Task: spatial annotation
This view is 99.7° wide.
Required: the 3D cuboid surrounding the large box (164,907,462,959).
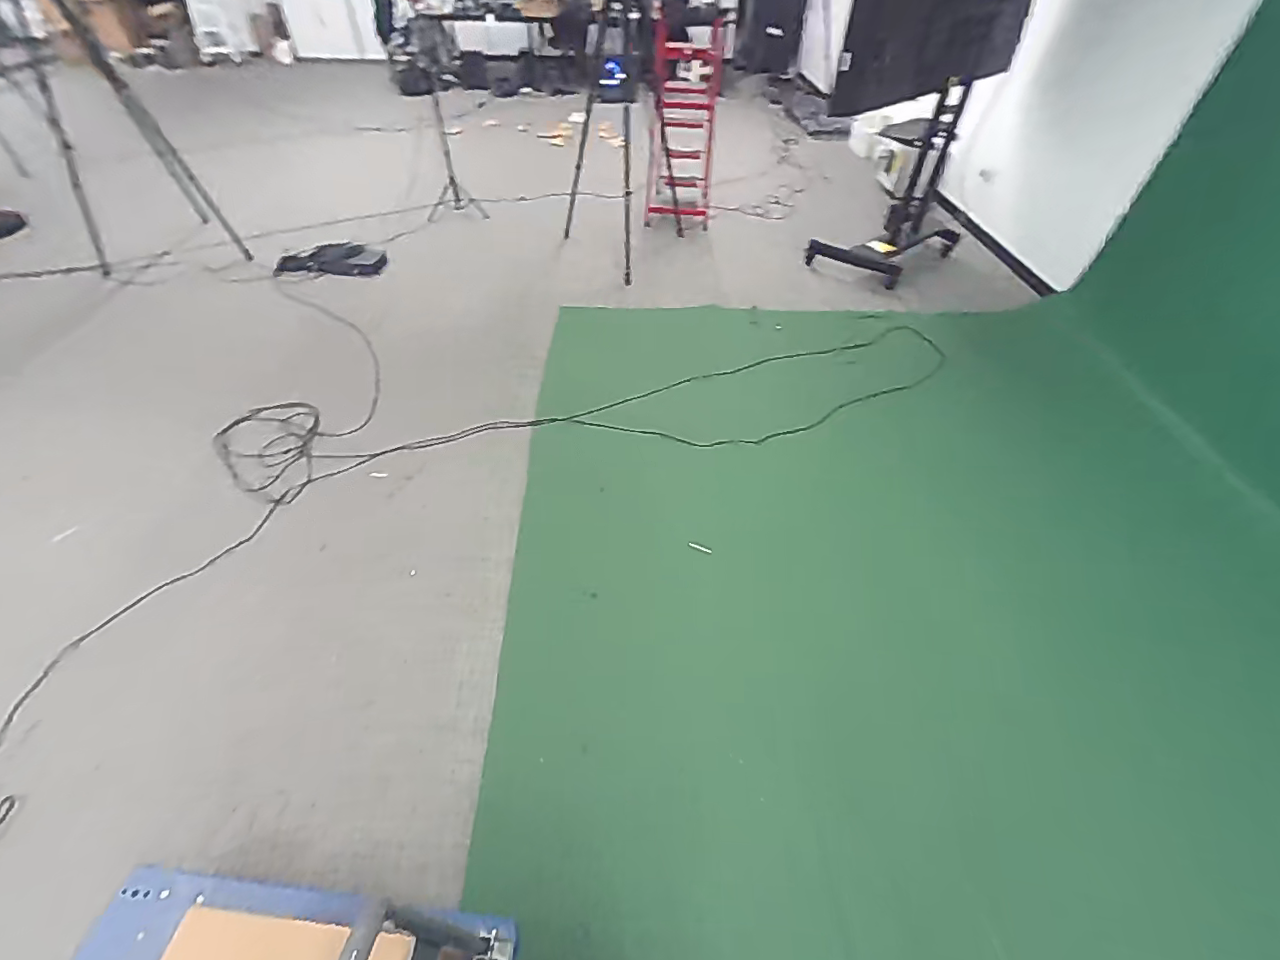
[{"bbox_3d":[-0.561,0.933,0.889,0.408,0.320,0.320,5,46,4],"label":"large box"}]
